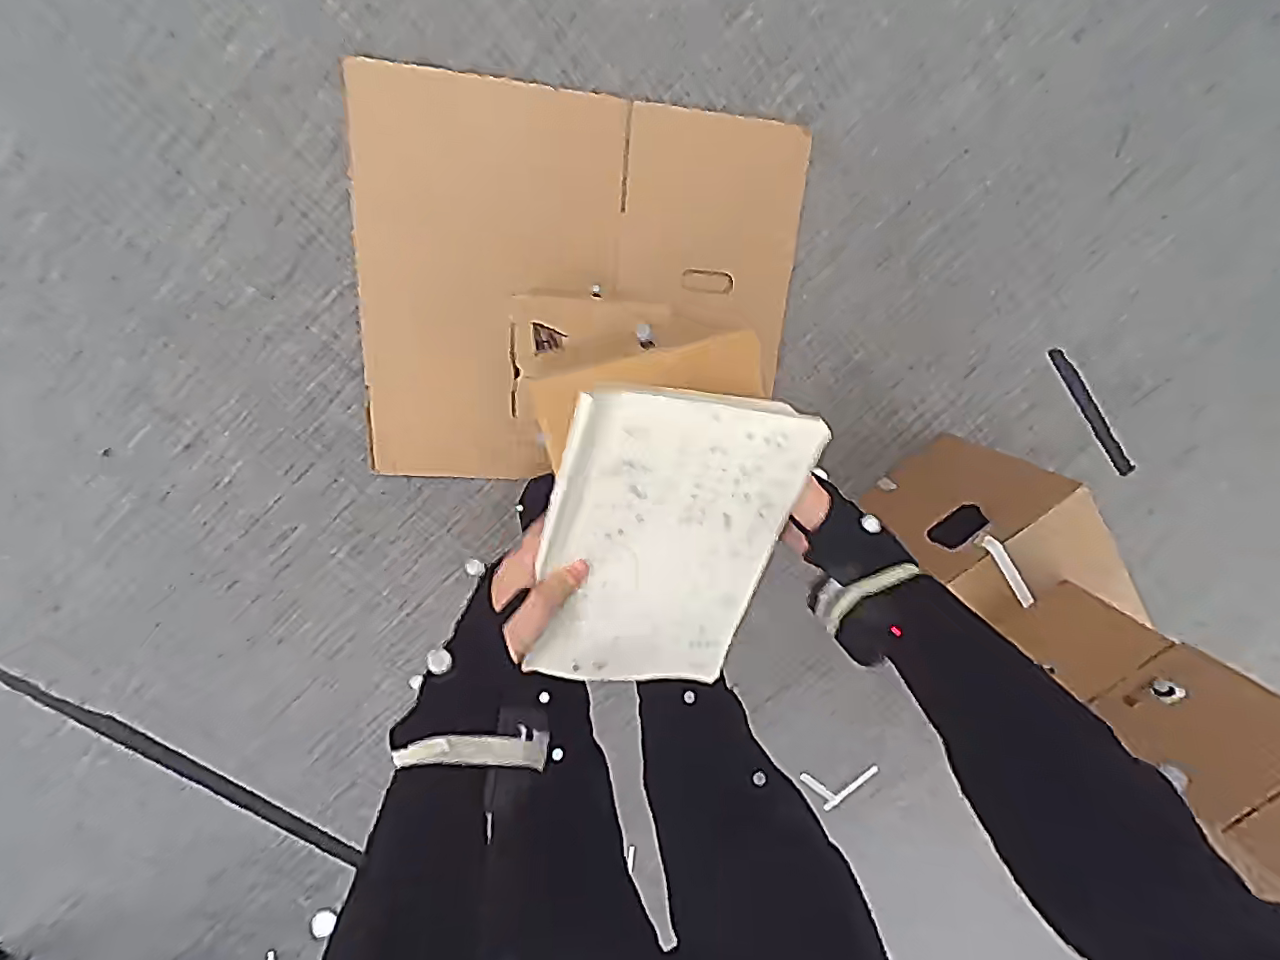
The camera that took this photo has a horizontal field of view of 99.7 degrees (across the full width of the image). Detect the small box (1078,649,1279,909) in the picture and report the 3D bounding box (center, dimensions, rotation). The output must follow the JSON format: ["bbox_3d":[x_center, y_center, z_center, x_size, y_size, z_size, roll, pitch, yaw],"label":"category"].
[{"bbox_3d":[0.679,0.338,0.635,0.168,0.176,0.179,-40,108,6],"label":"small box"}]

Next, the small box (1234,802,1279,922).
[{"bbox_3d":[0.709,0.381,0.479,0.179,0.176,0.168,-37,109,5],"label":"small box"}]
